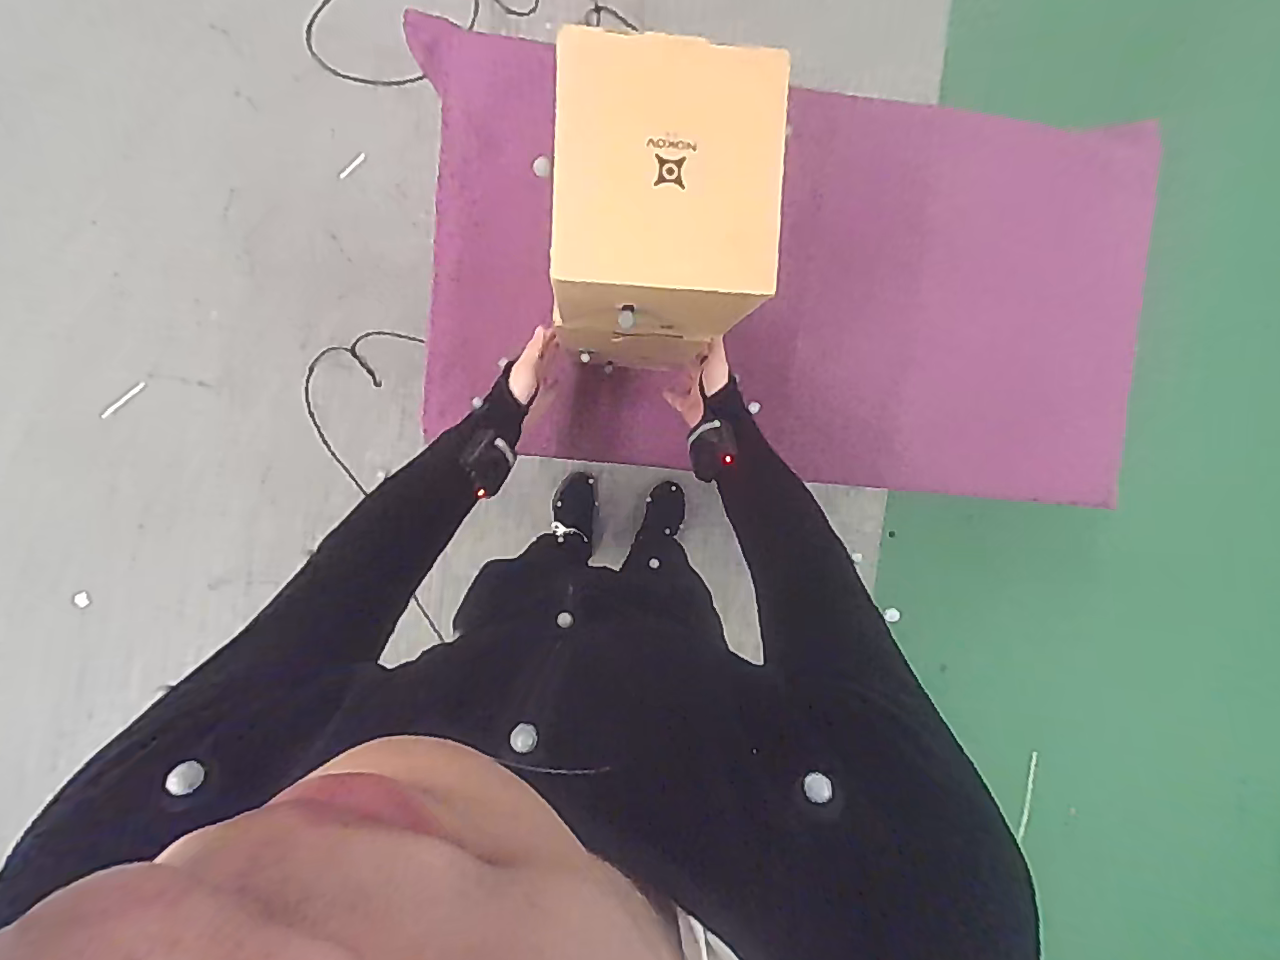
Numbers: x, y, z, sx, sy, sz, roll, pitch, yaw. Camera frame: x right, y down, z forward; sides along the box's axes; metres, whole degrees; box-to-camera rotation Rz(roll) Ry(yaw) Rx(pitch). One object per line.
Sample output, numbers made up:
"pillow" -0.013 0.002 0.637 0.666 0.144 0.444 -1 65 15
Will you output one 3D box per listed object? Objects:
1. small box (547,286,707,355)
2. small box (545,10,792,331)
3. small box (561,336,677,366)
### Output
"small box" -0.010 -0.244 0.611 0.168 0.176 0.179 4 93 -7
"small box" 0.013 -0.229 0.452 0.168 0.176 0.179 2 94 -6
"small box" -0.027 -0.268 0.773 0.168 0.176 0.179 4 95 -7
